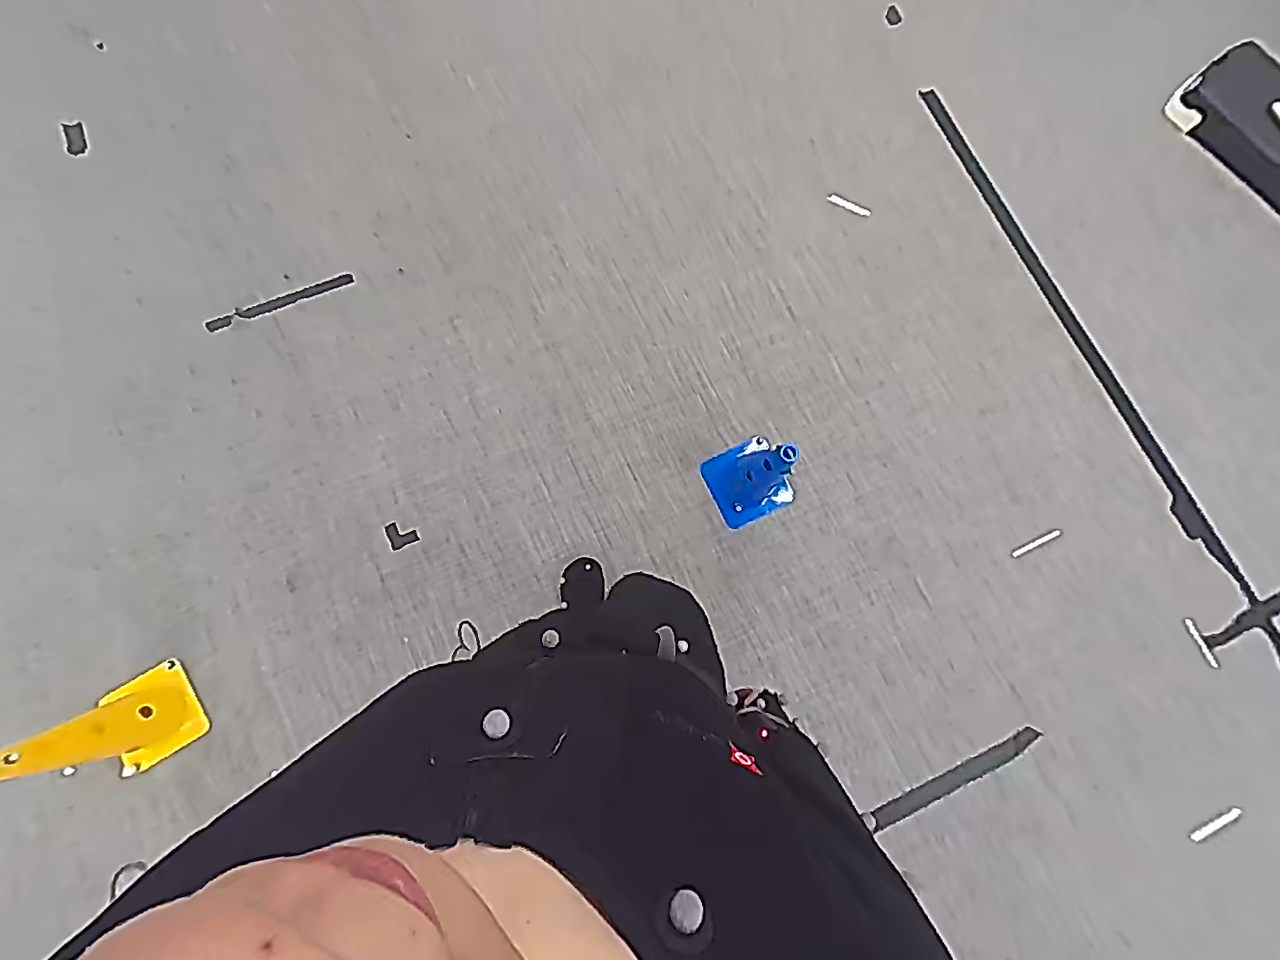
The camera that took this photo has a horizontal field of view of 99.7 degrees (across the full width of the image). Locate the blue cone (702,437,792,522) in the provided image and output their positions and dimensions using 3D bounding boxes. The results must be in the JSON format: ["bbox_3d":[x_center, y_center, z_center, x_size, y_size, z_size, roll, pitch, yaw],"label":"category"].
[{"bbox_3d":[0.284,-0.027,1.259,0.193,0.380,0.192,-24,81,-6],"label":"blue cone"}]
